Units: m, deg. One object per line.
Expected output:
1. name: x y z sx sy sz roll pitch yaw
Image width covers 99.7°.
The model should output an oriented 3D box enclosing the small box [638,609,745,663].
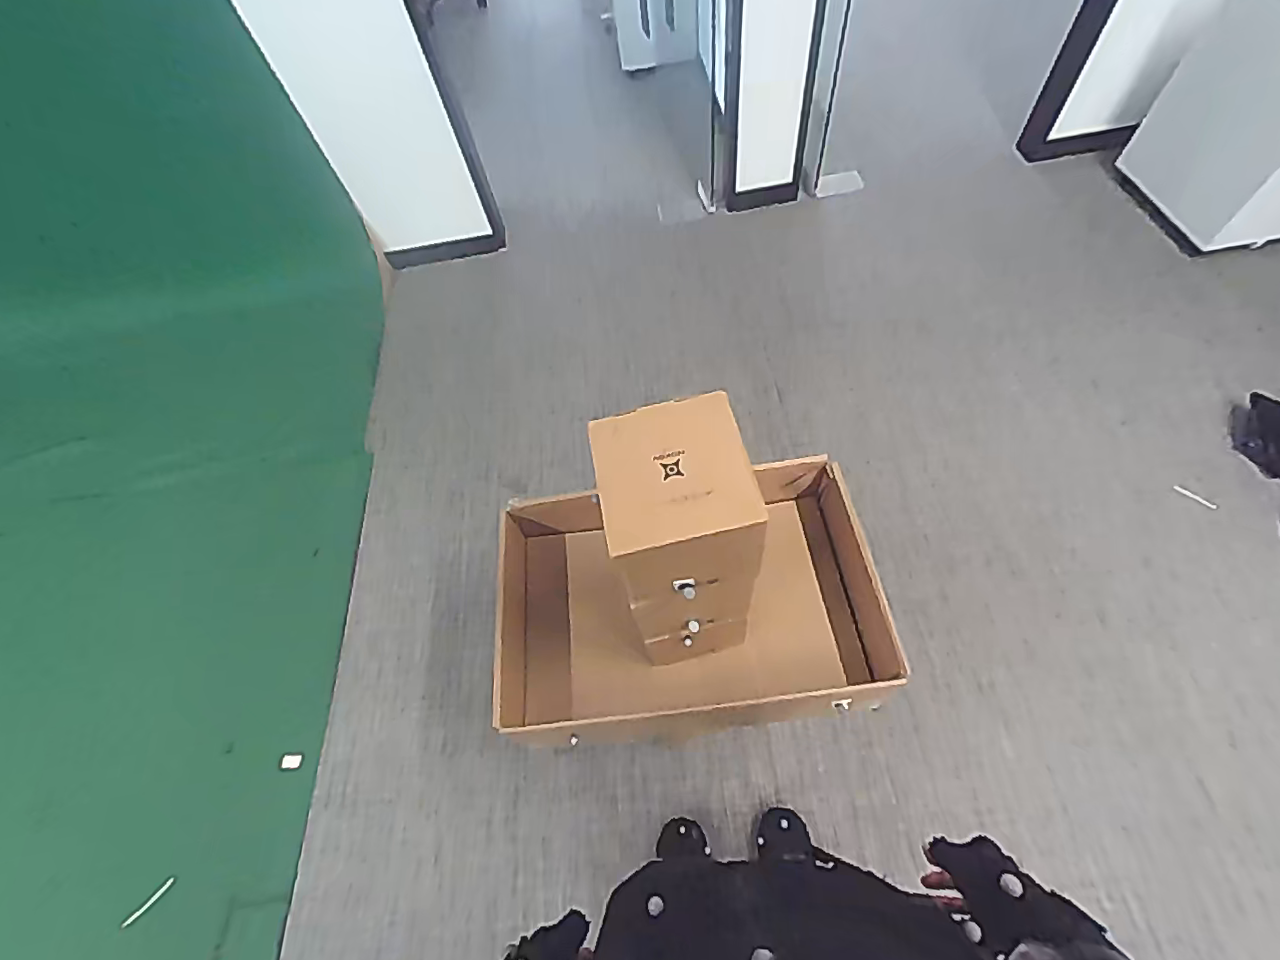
1. small box: 0.074 0.195 0.931 0.168 0.176 0.179 -15 58 0

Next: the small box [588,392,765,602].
1. small box: 0.042 0.027 0.654 0.168 0.176 0.179 -14 60 2

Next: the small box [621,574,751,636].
1. small box: 0.055 0.109 0.793 0.168 0.176 0.179 -13 59 0
